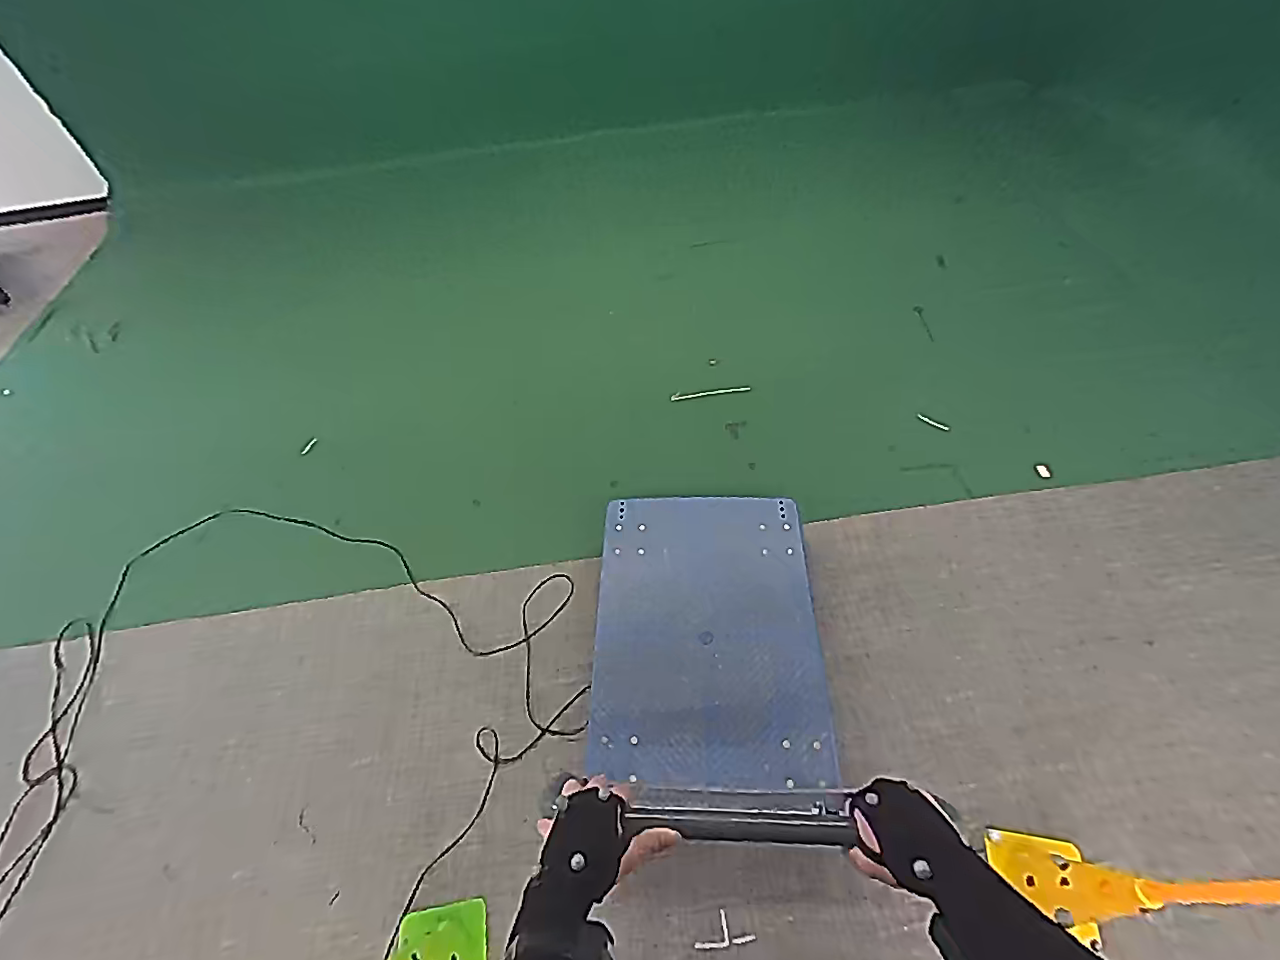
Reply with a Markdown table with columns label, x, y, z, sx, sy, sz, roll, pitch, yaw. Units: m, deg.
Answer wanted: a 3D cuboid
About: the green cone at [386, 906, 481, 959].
| label | x | y | z | sx | sy | sz | roll | pitch | yaw |
| --- | --- | --- | --- | --- | --- | --- | --- | --- | --- |
| green cone | -0.462 | 0.964 | 1.037 | 0.202 | 0.368 | 0.200 | -12 | 53 | -2 |
